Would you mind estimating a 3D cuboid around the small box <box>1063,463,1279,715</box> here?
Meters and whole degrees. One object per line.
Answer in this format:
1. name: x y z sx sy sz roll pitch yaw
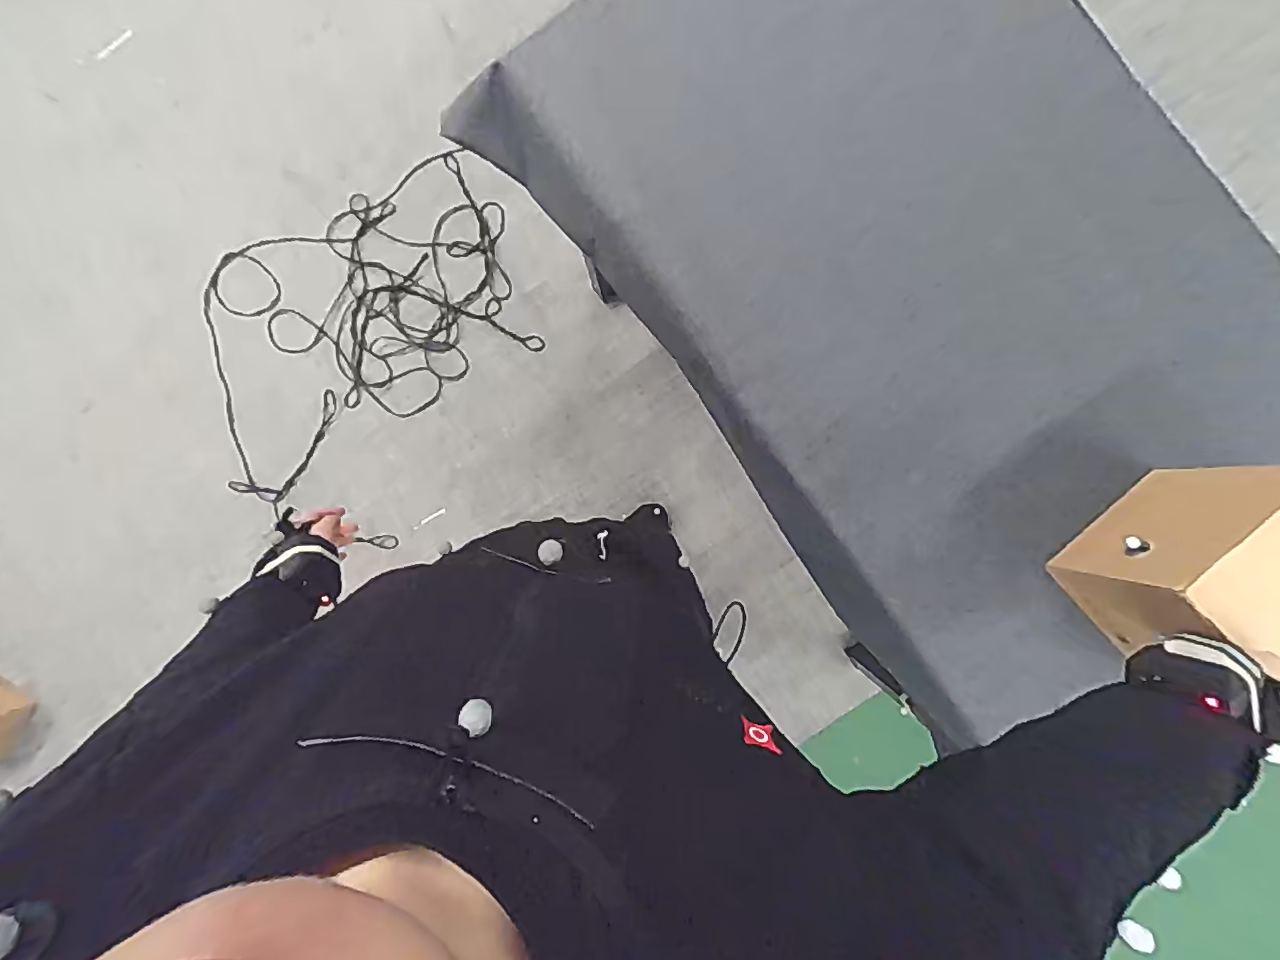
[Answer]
1. small box: 0.585 0.102 0.546 0.179 0.176 0.168 -42 89 -1
